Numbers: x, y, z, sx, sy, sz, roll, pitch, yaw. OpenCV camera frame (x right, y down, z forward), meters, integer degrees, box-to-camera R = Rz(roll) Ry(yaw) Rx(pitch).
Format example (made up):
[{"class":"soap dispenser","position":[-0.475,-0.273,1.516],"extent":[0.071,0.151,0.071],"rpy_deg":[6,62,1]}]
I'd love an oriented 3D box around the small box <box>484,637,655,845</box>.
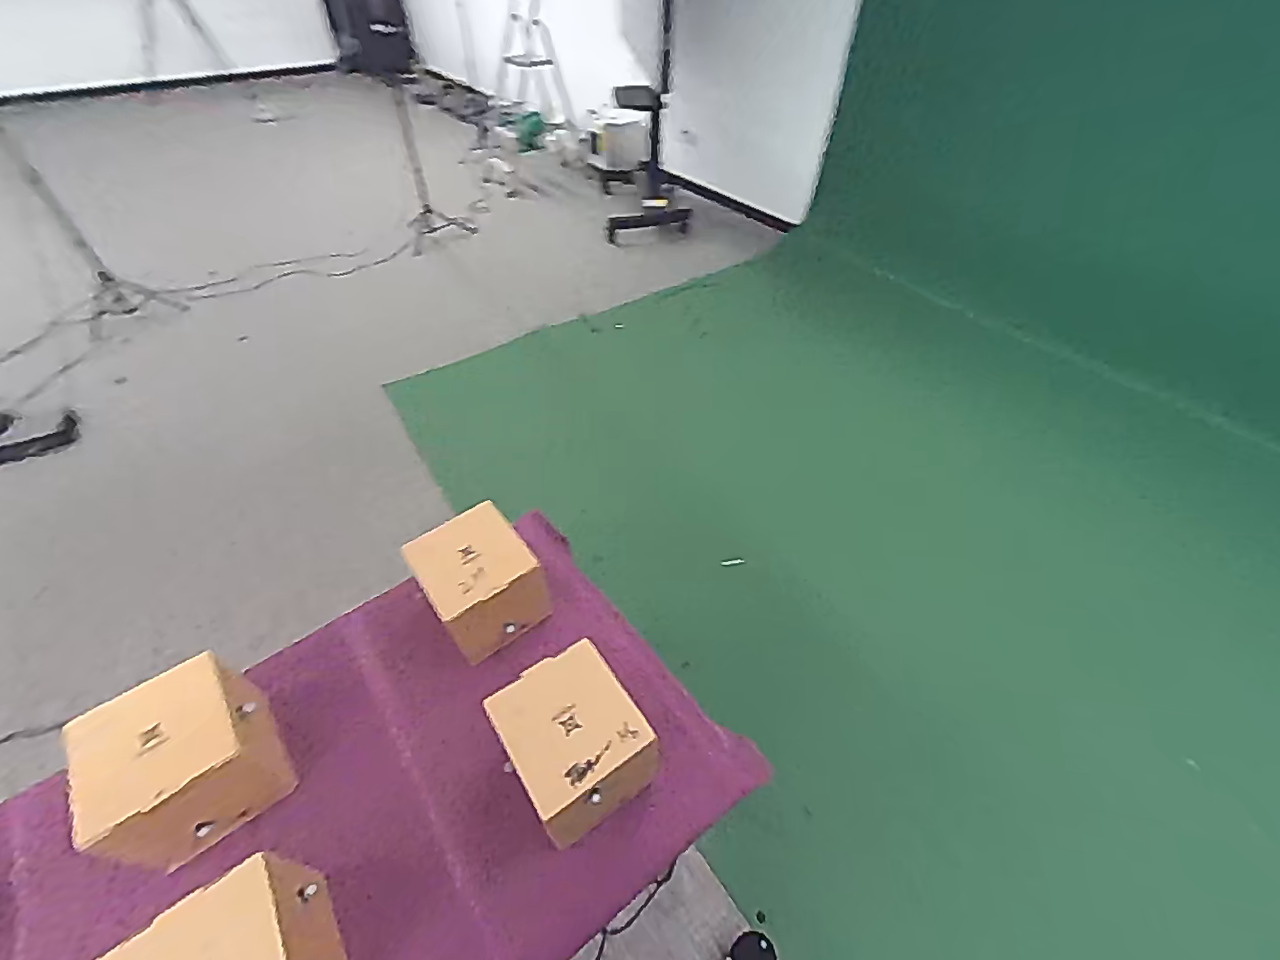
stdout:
[{"class":"small box","position":[-0.095,0.364,0.756],"extent":[0.168,0.176,0.179],"rpy_deg":[-27,51,-23]}]

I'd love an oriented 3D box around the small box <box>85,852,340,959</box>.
[{"class":"small box","position":[-0.437,0.547,0.571],"extent":[0.168,0.176,0.179],"rpy_deg":[-28,53,-25]}]

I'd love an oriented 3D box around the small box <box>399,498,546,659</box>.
[{"class":"small box","position":[-0.280,0.170,0.927],"extent":[0.168,0.176,0.179],"rpy_deg":[-31,56,-24]}]

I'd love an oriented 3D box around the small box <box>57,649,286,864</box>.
[{"class":"small box","position":[-0.619,0.373,0.729],"extent":[0.168,0.176,0.179],"rpy_deg":[-30,56,-27]}]
